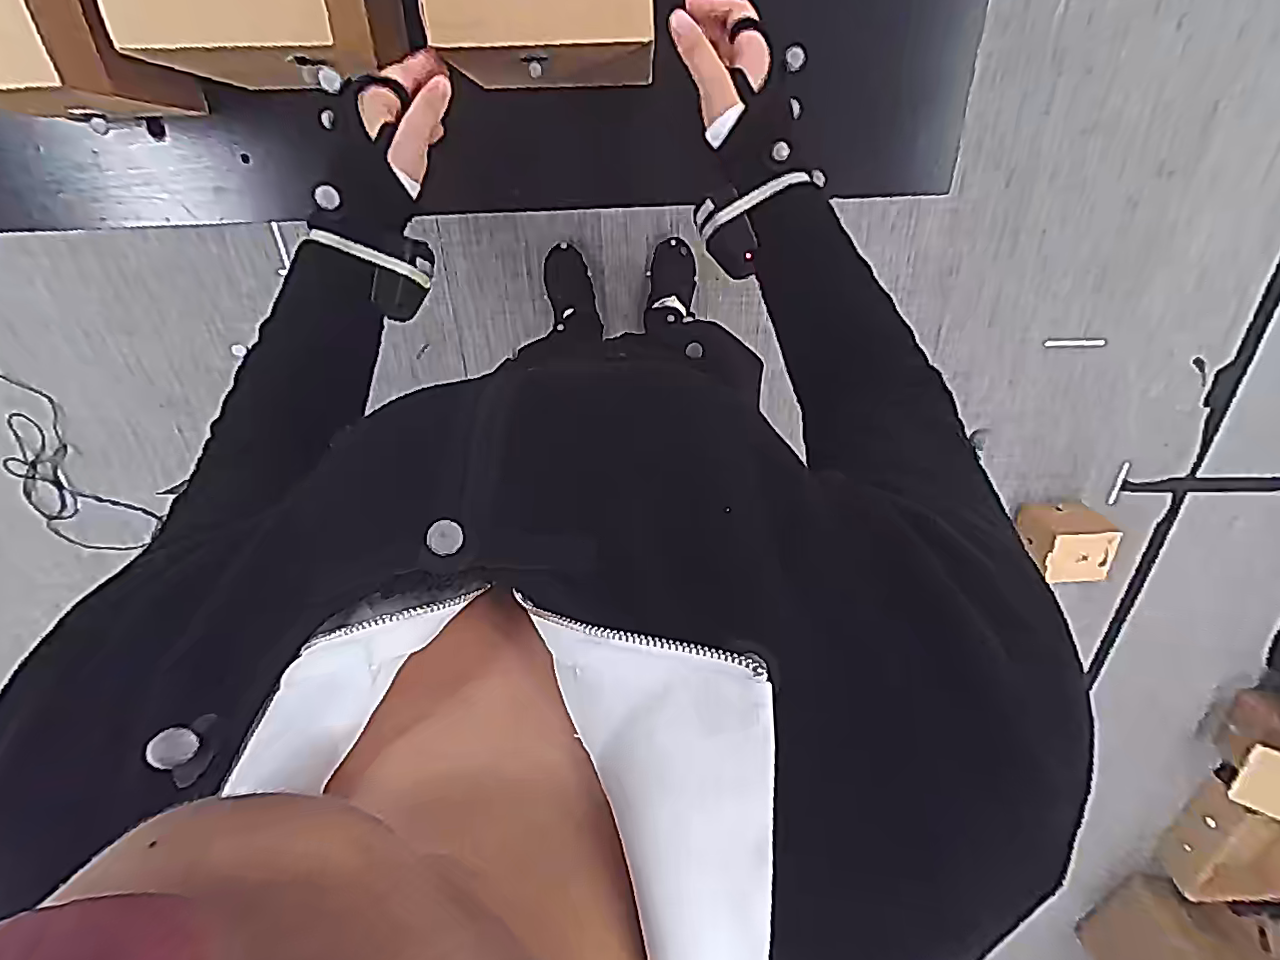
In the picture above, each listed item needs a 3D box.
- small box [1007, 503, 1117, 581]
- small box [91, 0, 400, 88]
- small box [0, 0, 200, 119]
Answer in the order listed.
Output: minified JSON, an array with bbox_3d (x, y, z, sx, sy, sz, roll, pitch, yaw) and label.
[{"bbox_3d":[1.218,0.179,1.578,0.179,0.176,0.168,-3,118,3],"label":"small box"},{"bbox_3d":[-0.319,-0.440,0.445,0.179,0.176,0.168,0,117,1],"label":"small box"},{"bbox_3d":[-0.538,-0.423,0.457,0.168,0.176,0.179,-1,118,2],"label":"small box"}]
